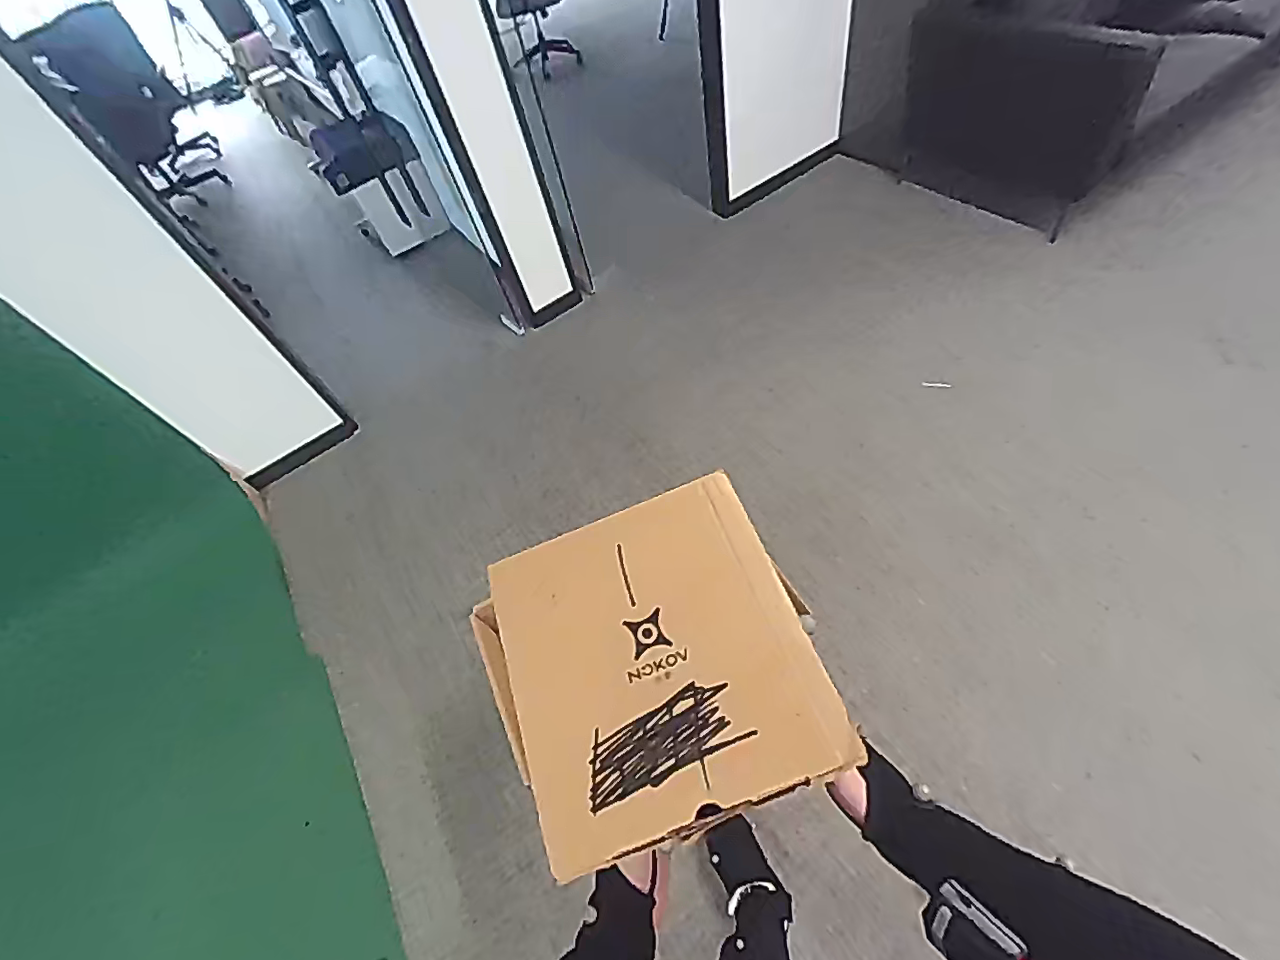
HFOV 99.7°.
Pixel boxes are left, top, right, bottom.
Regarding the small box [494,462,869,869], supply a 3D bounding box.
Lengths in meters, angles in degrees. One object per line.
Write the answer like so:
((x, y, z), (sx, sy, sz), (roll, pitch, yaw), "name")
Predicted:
((0.025, 0.122, 0.366), (0.168, 0.176, 0.179), (-21, 60, 0), "small box")
